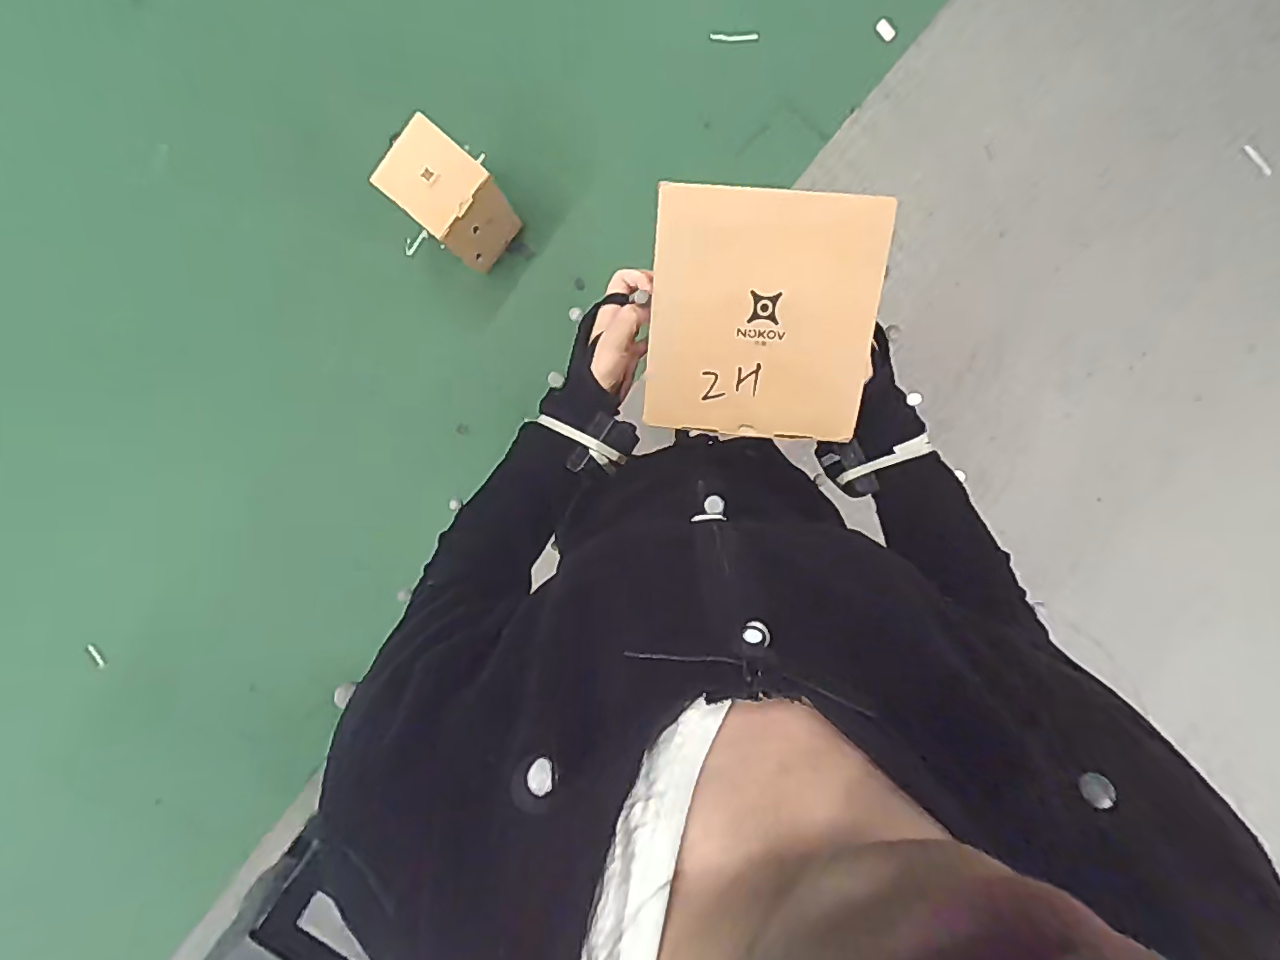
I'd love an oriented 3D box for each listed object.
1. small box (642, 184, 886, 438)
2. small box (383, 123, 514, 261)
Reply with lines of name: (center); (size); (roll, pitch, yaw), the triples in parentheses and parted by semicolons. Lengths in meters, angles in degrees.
small box: (0.093, -0.144, 0.481); (0.168, 0.176, 0.179); (4, 107, 4)
small box: (-0.398, -0.600, 1.155); (0.179, 0.176, 0.168); (39, 97, -6)
